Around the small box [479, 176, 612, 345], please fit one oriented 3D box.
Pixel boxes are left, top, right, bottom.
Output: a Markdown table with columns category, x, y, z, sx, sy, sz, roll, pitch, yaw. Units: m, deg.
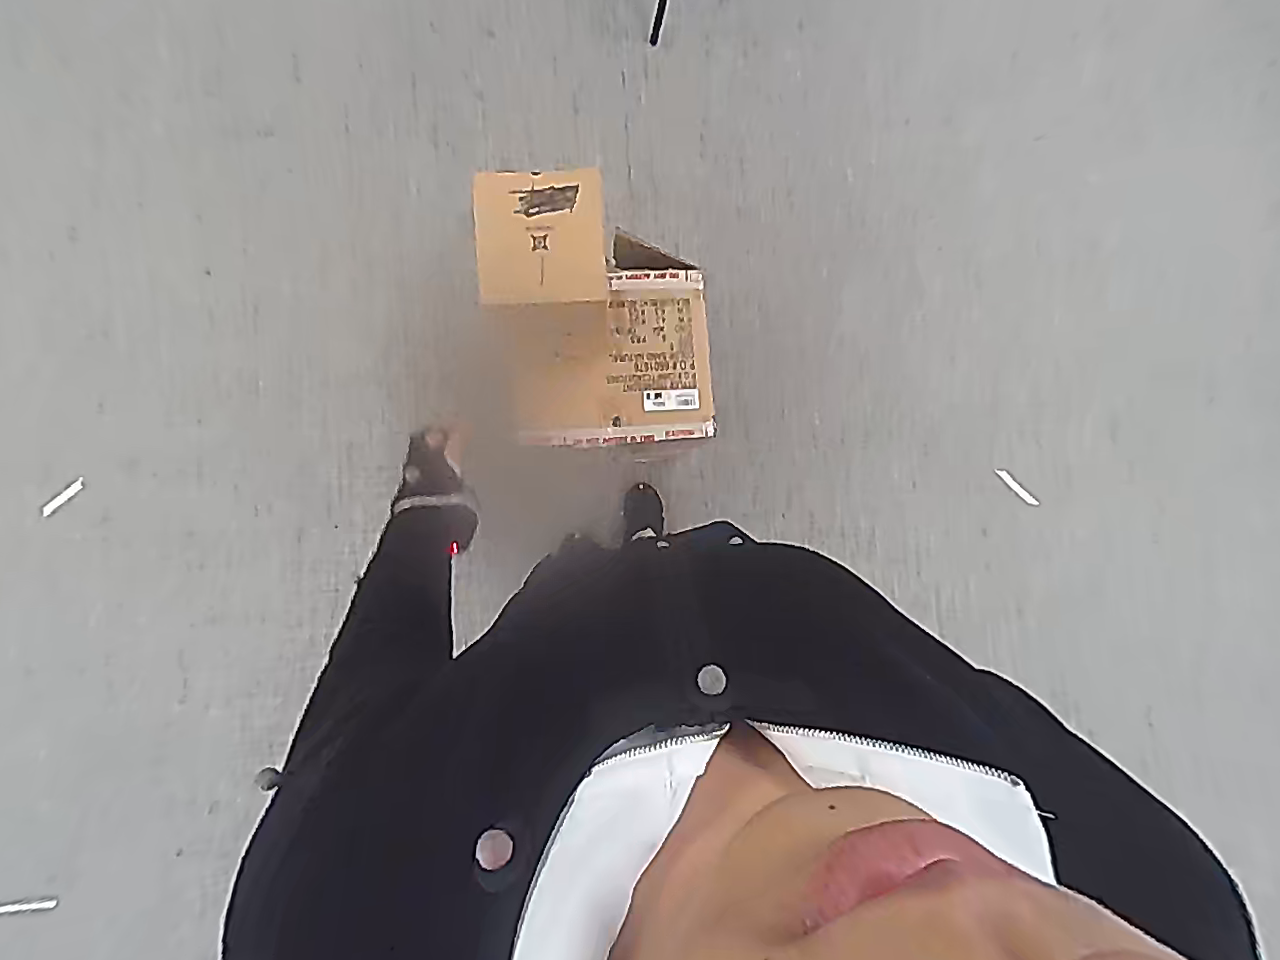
| category | x | y | z | sx | sy | sz | roll | pitch | yaw |
| --- | --- | --- | --- | --- | --- | --- | --- | --- | --- |
| small box | -0.127 | -0.306 | 0.780 | 0.168 | 0.176 | 0.179 | -4 | 90 | -2 |
